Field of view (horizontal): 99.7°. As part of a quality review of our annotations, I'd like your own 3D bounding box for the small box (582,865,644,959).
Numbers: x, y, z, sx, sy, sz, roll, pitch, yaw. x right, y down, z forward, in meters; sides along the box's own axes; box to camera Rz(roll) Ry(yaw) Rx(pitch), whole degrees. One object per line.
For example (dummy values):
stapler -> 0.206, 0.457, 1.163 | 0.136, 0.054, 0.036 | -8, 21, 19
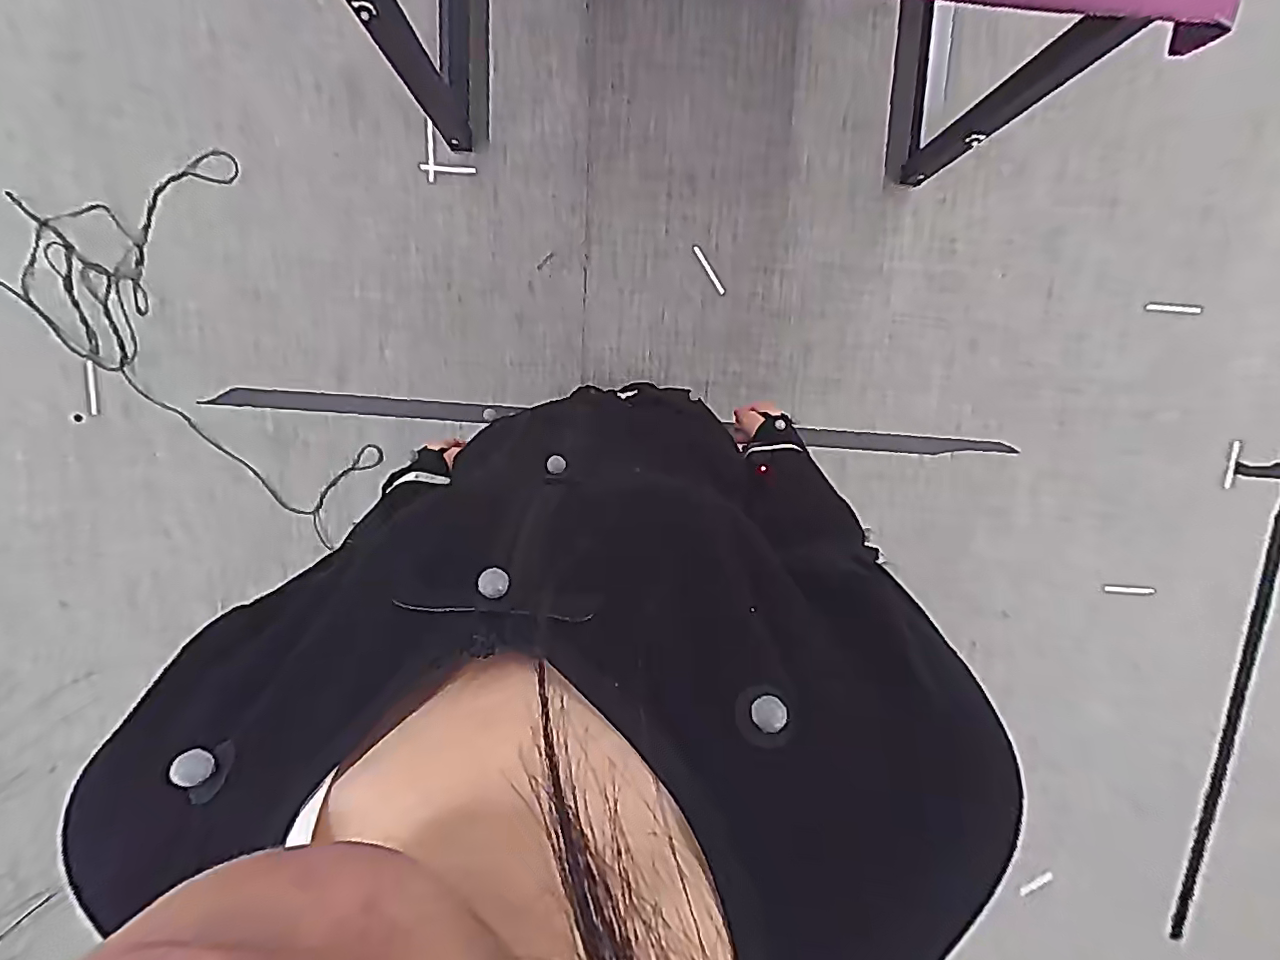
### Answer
small box -> -0.081, 1.296, 1.619 | 0.168, 0.176, 0.179 | 5, 100, -2
